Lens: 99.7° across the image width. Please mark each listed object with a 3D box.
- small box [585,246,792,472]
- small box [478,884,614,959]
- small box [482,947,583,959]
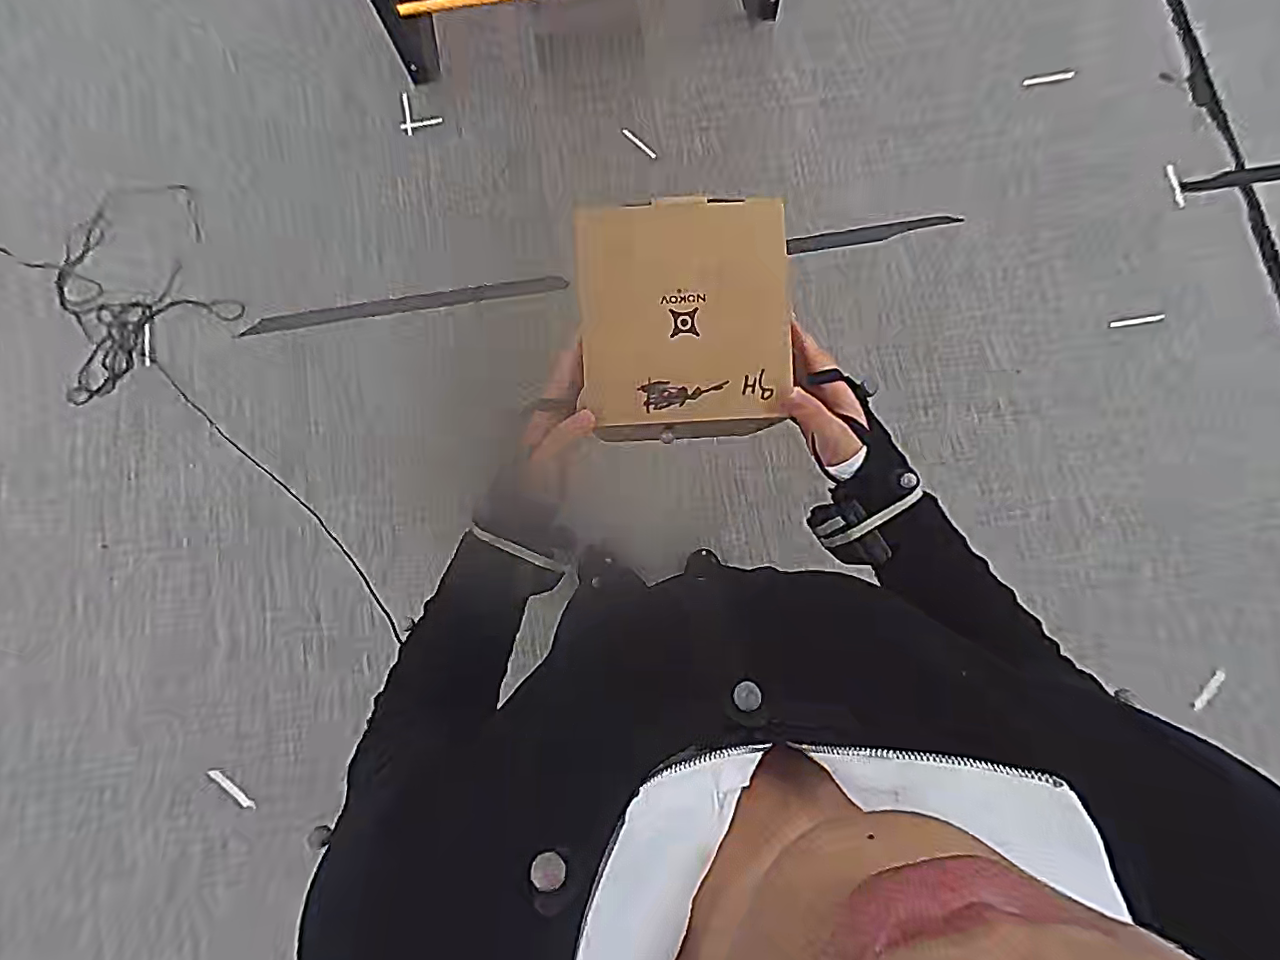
[{"bbox_3d":[0.037,-0.100,0.518,0.168,0.176,0.179,-3,89,0],"label":"small box"},{"bbox_3d":[-0.144,0.806,0.884,0.179,0.176,0.168,-11,81,2],"label":"small box"},{"bbox_3d":[-0.159,0.782,0.722,0.168,0.176,0.179,-7,80,3],"label":"small box"}]
